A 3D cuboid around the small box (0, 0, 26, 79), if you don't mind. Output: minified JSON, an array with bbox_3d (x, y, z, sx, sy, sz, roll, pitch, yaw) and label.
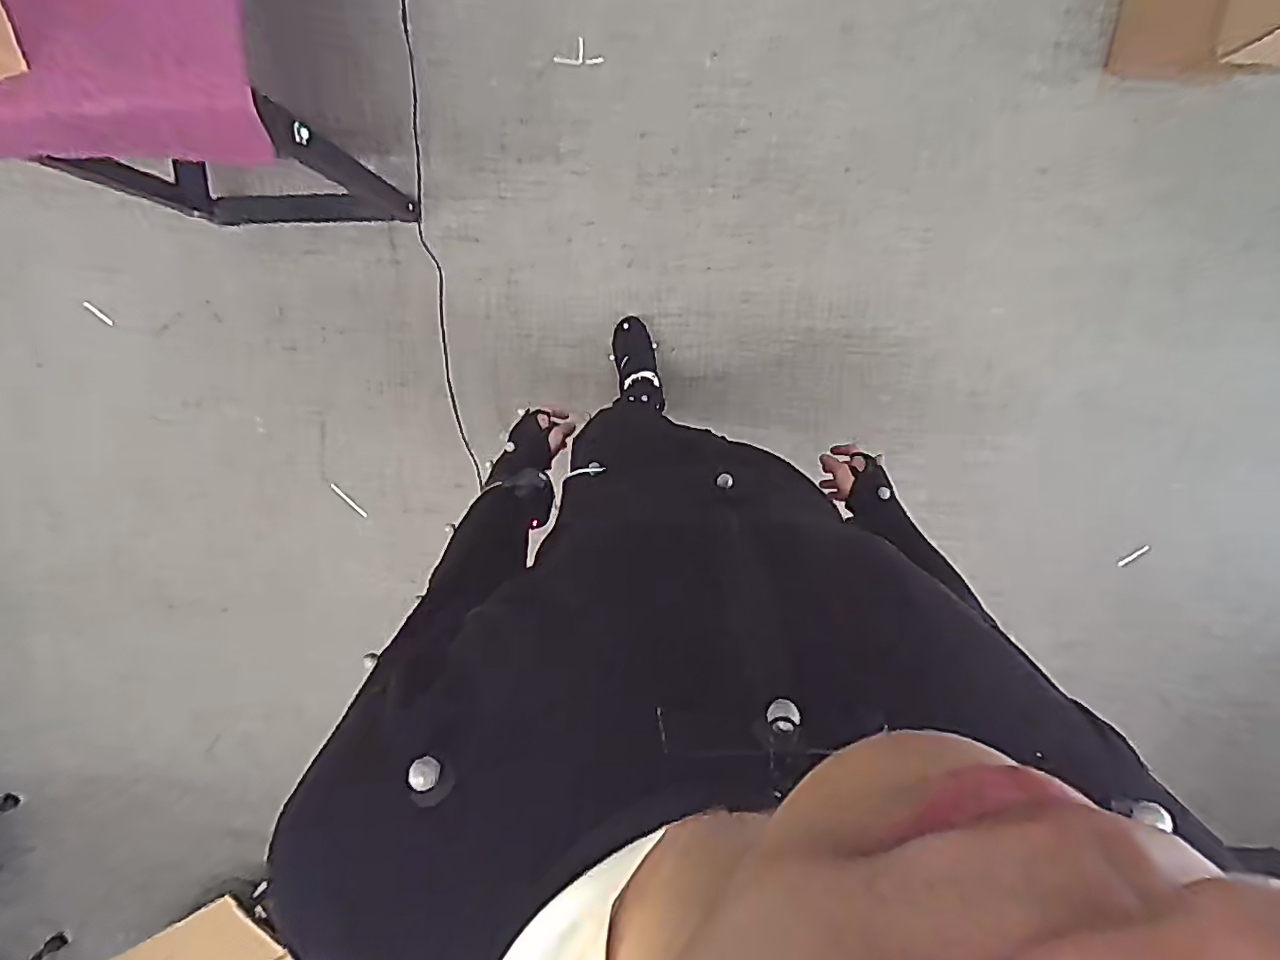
[{"bbox_3d":[-0.992,-0.647,0.708,0.168,0.176,0.179,-14,100,3],"label":"small box"}]
